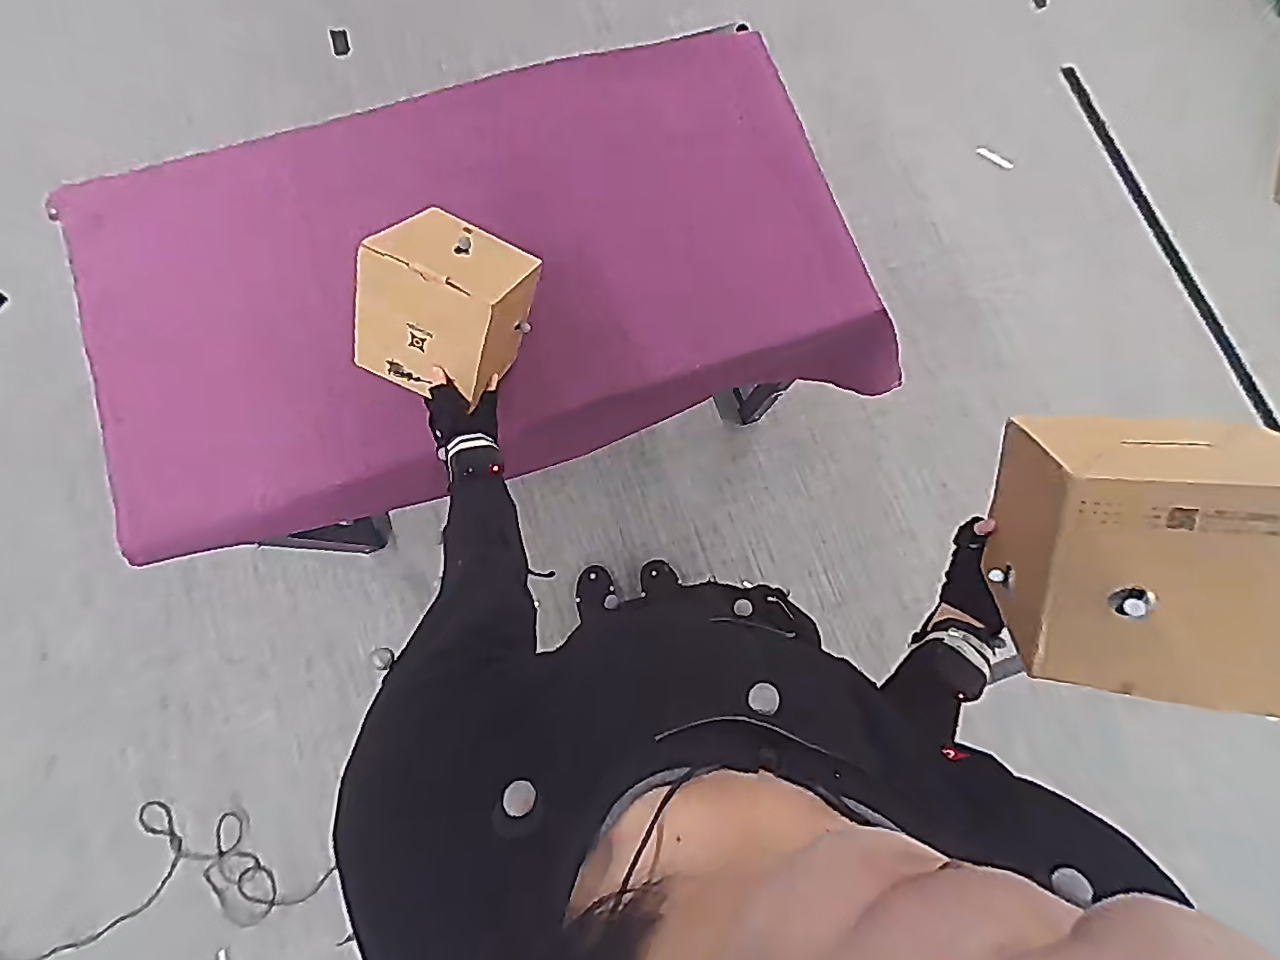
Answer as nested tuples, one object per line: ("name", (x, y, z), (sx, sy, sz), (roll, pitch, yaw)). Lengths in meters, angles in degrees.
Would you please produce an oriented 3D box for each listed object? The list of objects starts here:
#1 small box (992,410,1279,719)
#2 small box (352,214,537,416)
("small box", (0.393, 0.048, 0.413), (0.168, 0.179, 0.176), (4, 112, 21))
("small box", (-0.254, -0.224, 0.722), (0.168, 0.179, 0.176), (26, 40, -5))
